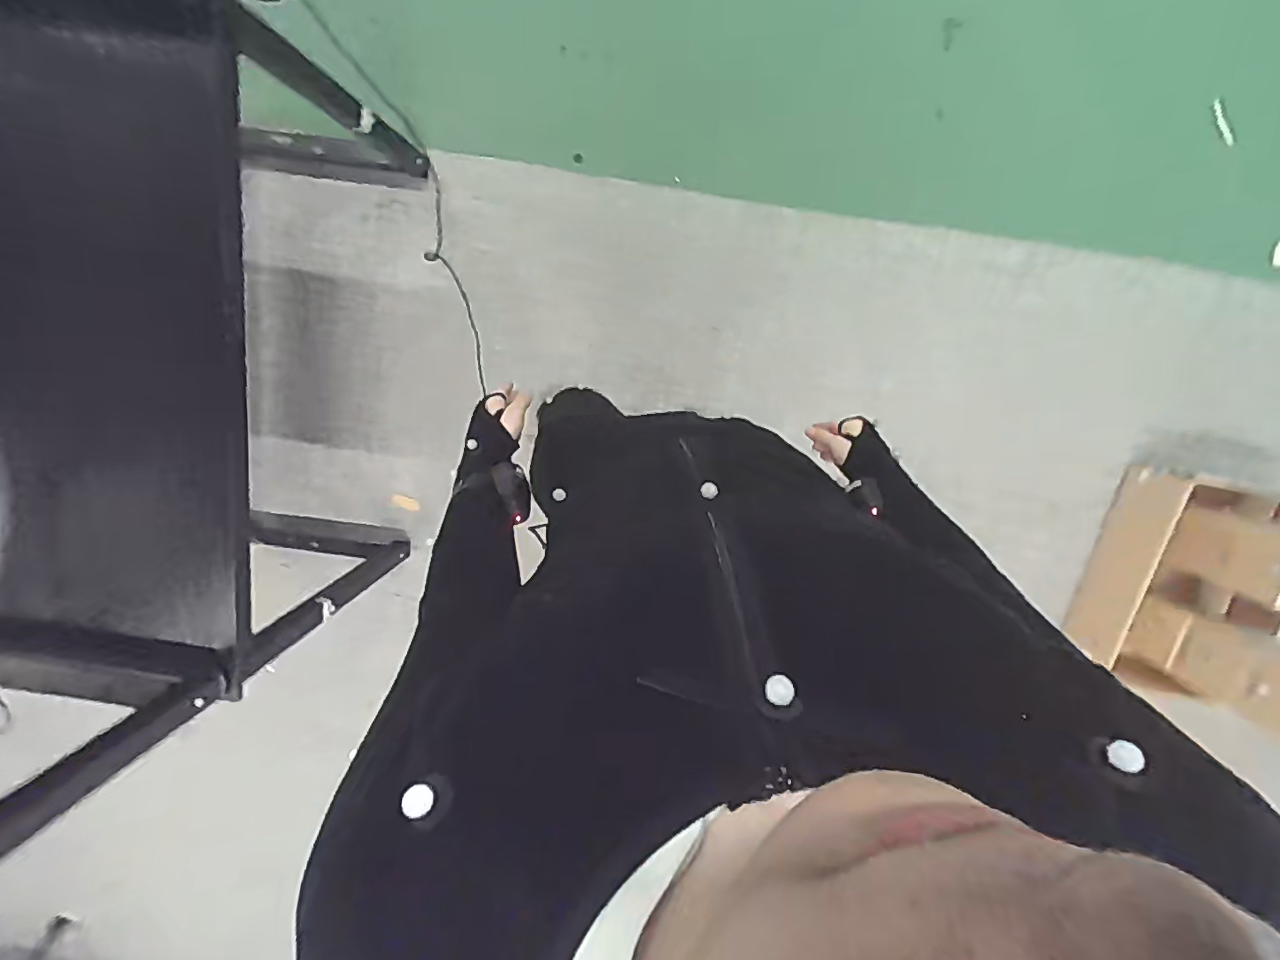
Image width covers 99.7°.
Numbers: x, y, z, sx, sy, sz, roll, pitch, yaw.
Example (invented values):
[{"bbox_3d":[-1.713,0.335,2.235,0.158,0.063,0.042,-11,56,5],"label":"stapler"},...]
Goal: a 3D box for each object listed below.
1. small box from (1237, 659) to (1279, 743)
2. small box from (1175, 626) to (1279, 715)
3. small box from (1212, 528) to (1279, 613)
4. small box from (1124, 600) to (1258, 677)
[{"bbox_3d":[1.504,0.516,1.182,0.179,0.176,0.168,12,101,2],"label":"small box"},{"bbox_3d":[1.510,0.484,1.344,0.179,0.176,0.168,12,102,1],"label":"small box"},{"bbox_3d":[1.550,0.223,1.283,0.179,0.176,0.168,10,102,1],"label":"small box"},{"bbox_3d":[1.518,0.450,1.505,0.179,0.176,0.168,12,101,1],"label":"small box"}]
